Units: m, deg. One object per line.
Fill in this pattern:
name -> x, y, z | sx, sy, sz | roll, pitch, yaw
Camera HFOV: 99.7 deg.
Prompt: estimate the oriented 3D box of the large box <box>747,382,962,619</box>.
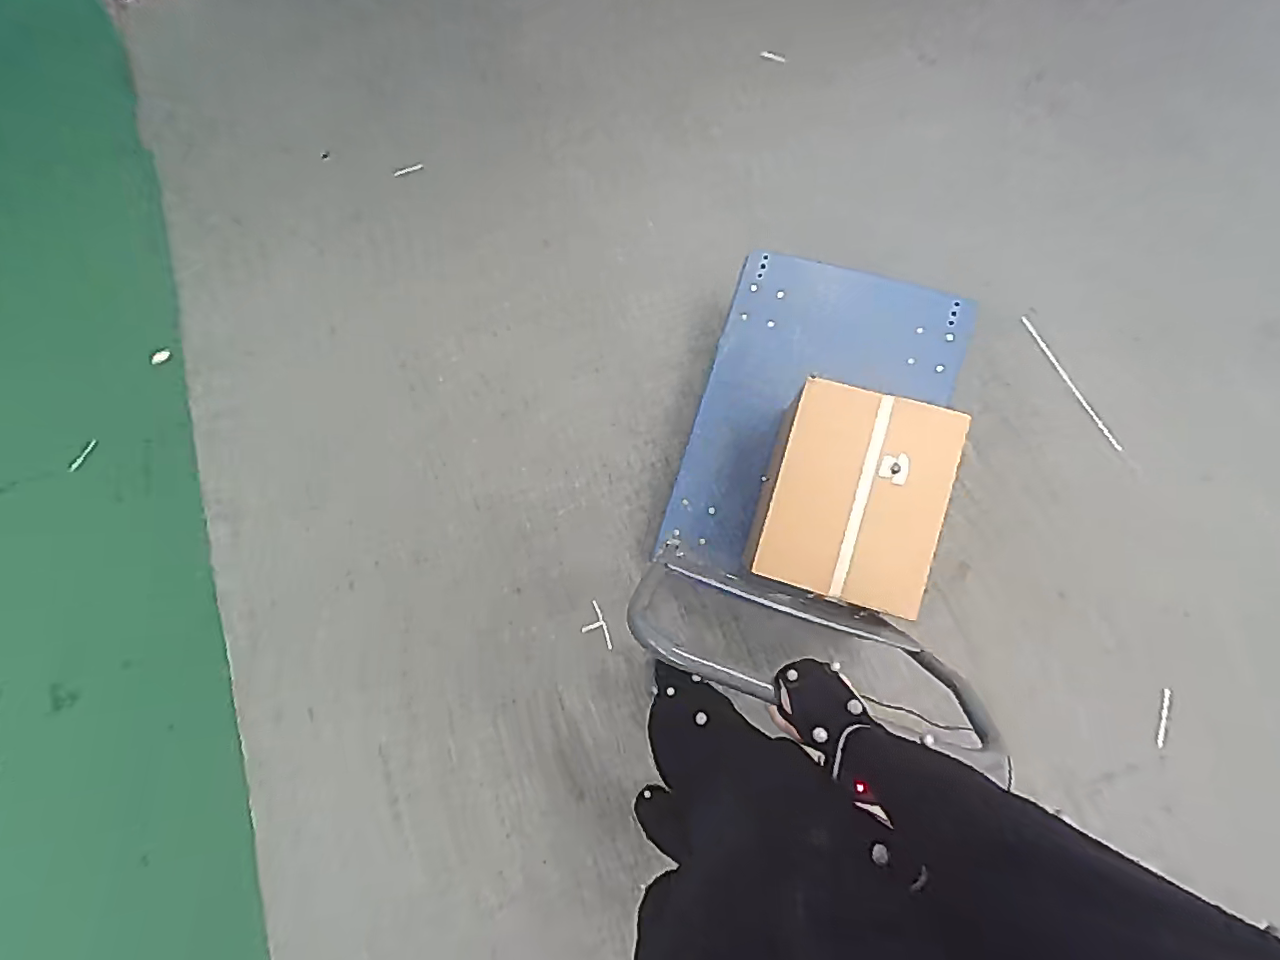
large box -> 0.439, 0.049, 1.188 | 0.320, 0.320, 0.408 | 16, 87, 8
